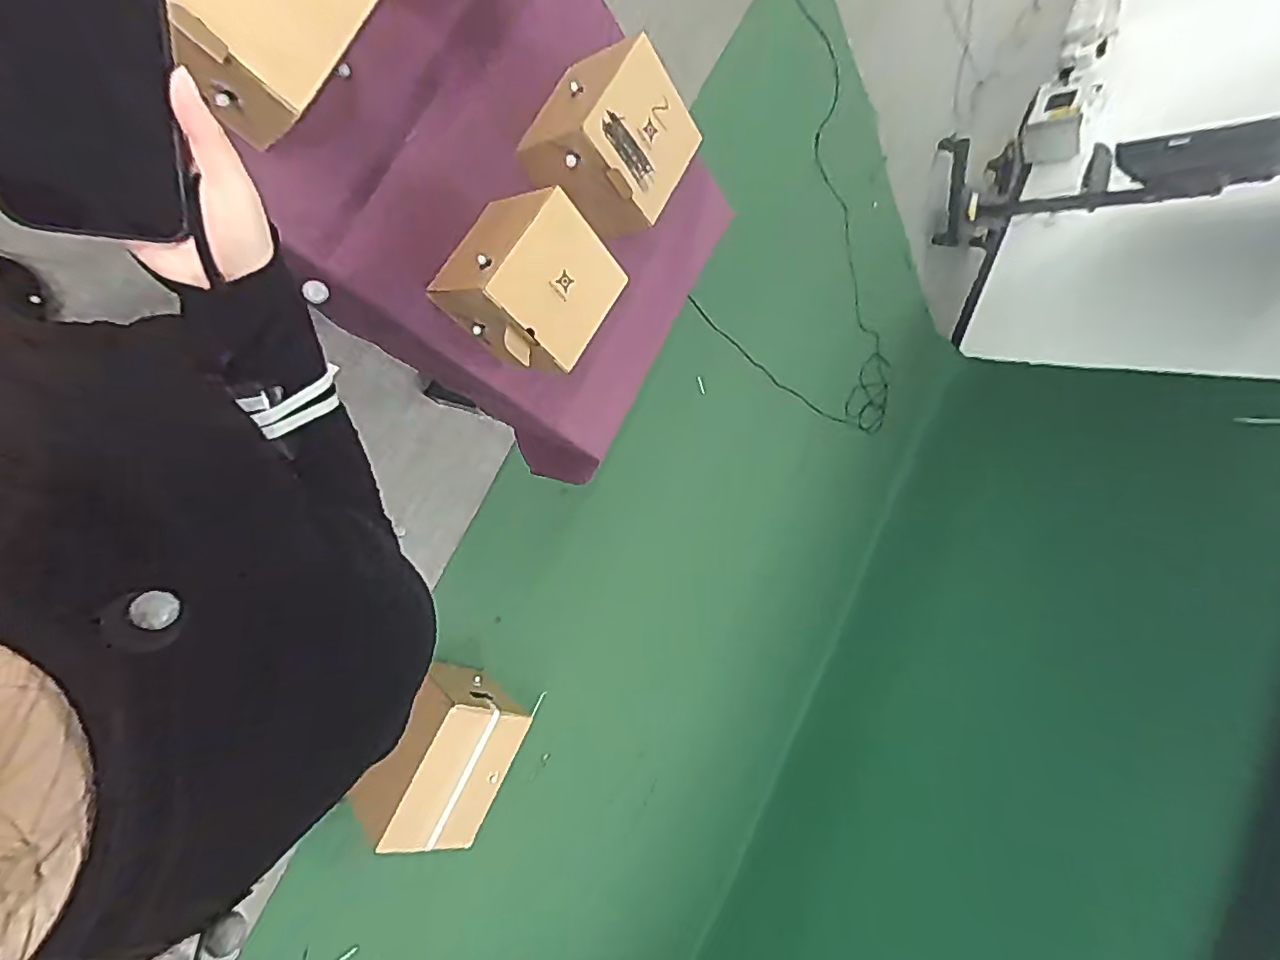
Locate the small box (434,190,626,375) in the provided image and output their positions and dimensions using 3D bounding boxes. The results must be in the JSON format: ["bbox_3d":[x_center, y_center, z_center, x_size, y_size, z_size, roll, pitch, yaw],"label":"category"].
[{"bbox_3d":[-0.159,-0.275,0.772,0.168,0.176,0.179,41,74,-44],"label":"small box"}]

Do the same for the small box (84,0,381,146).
[{"bbox_3d":[-0.375,-0.451,0.499,0.168,0.176,0.179,35,77,-46],"label":"small box"}]
